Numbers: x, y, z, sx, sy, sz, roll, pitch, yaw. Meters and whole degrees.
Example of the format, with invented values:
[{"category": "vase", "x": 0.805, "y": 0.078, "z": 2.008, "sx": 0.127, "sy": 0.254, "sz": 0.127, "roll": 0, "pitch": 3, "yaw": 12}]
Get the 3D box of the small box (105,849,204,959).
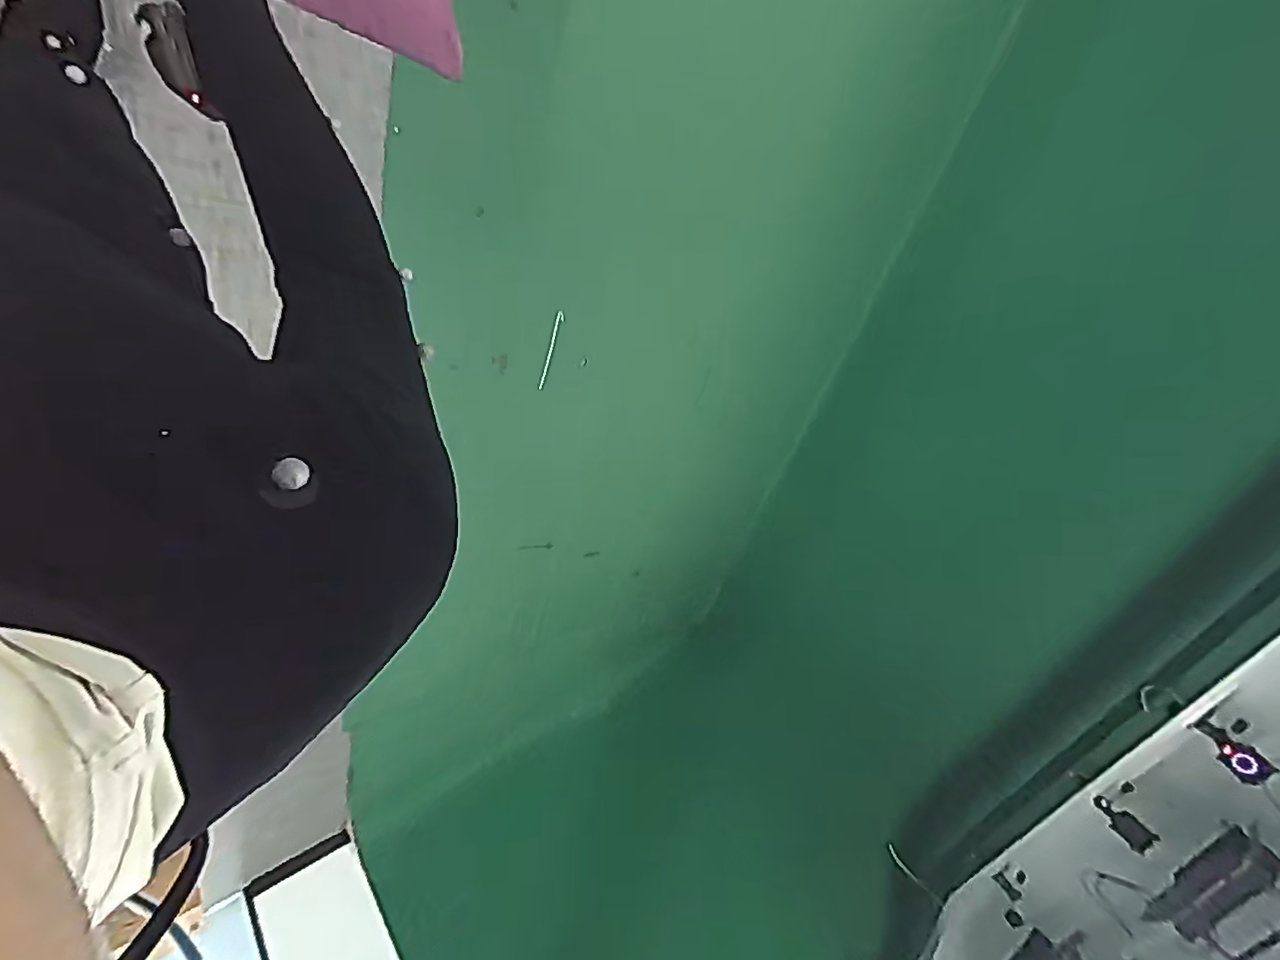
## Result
[{"category": "small box", "x": -1.247, "y": 1.108, "z": 1.389, "sx": 0.179, "sy": 0.176, "sz": 0.168, "roll": -9, "pitch": 130, "yaw": -44}]
